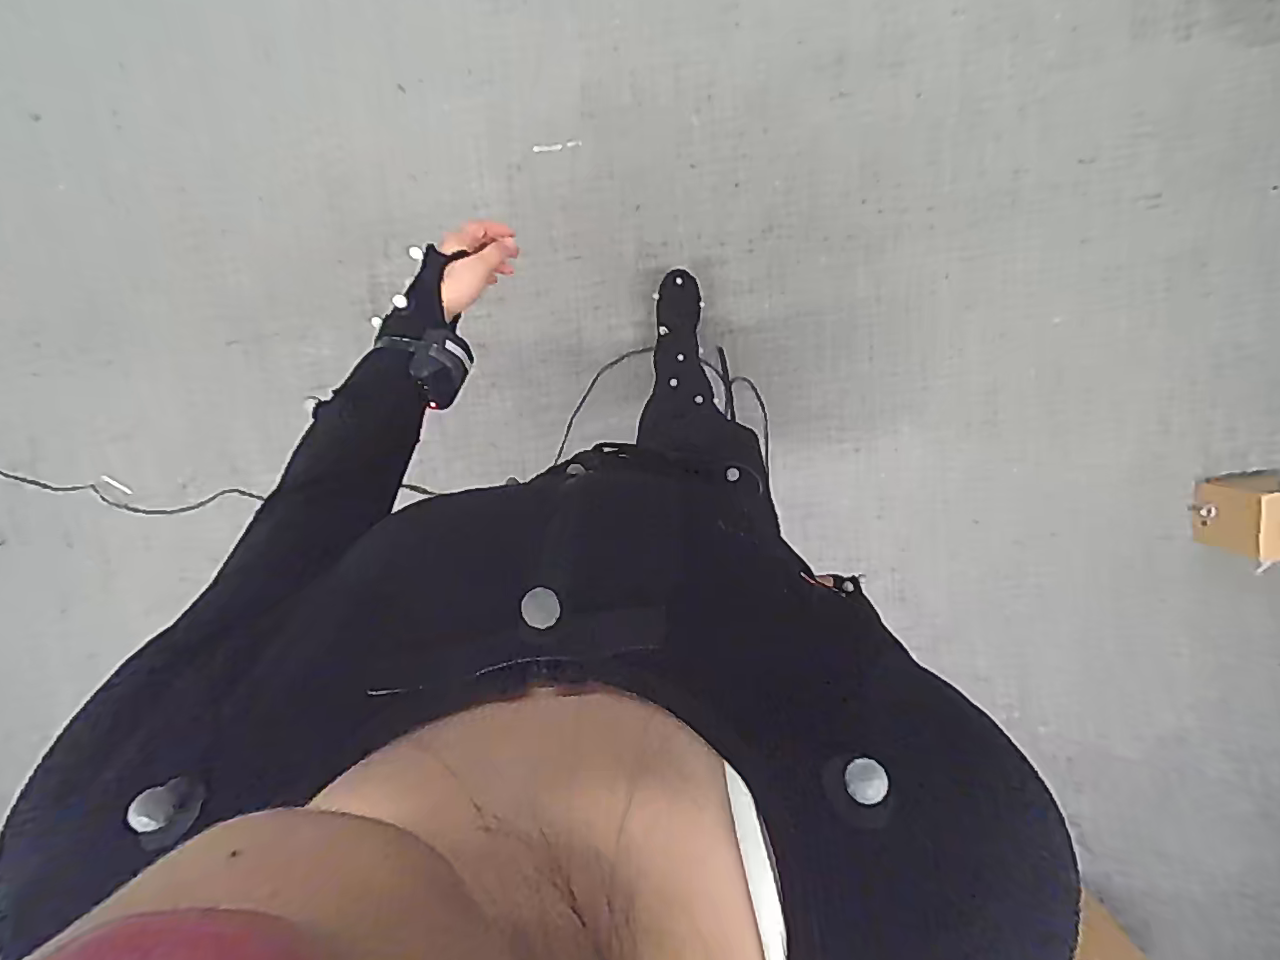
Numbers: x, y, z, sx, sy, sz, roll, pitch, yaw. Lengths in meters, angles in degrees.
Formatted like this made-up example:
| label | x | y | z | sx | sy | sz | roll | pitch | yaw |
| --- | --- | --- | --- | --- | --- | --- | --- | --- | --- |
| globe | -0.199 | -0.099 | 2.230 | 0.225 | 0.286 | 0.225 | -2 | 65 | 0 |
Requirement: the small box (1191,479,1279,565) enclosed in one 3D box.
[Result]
| label | x | y | z | sx | sy | sz | roll | pitch | yaw |
| --- | --- | --- | --- | --- | --- | --- | --- | --- | --- |
| small box | 1.532 | 0.098 | 1.334 | 0.179 | 0.176 | 0.168 | -7 | 98 | 5 |
